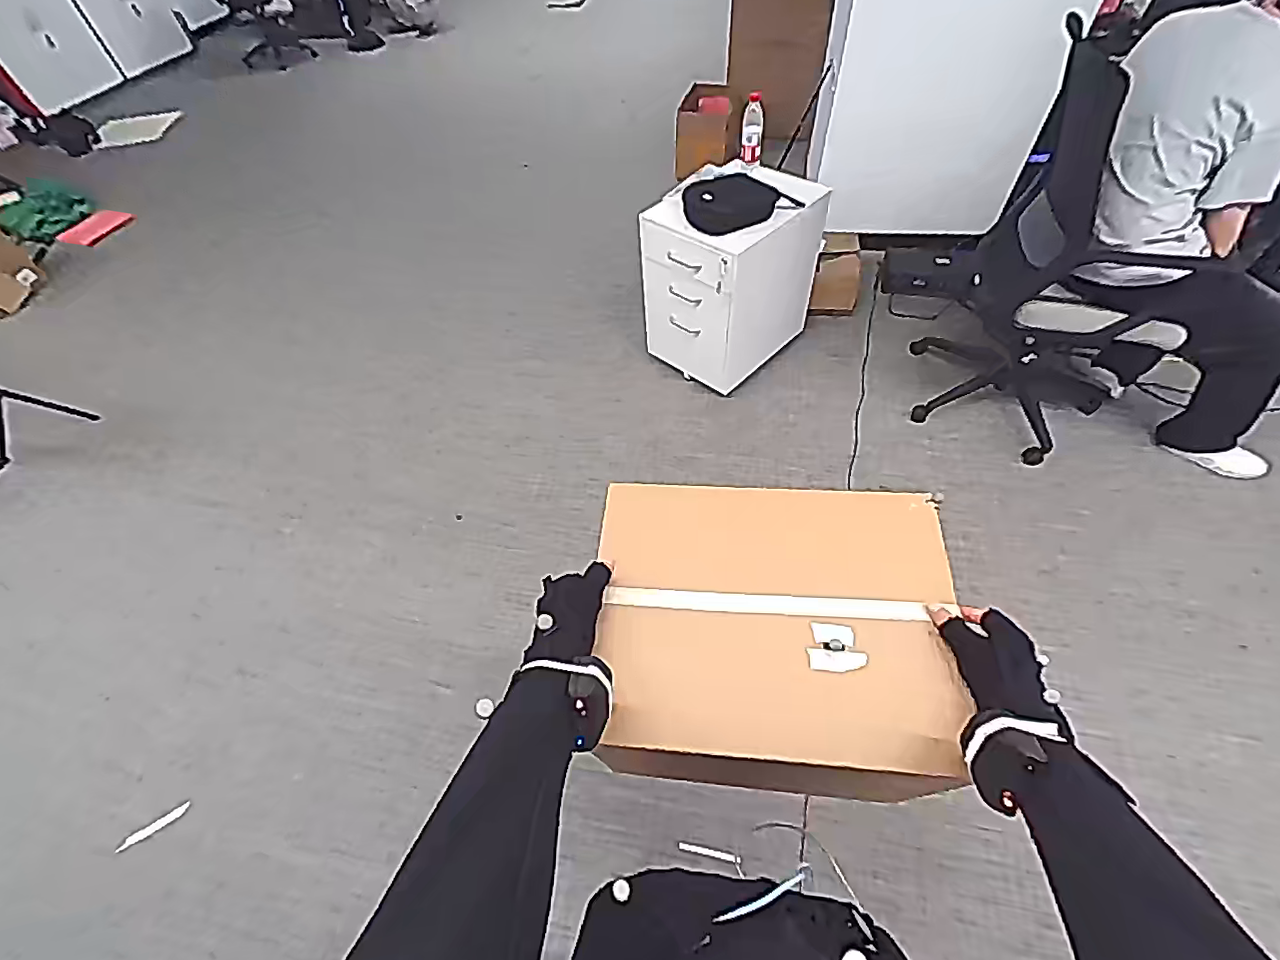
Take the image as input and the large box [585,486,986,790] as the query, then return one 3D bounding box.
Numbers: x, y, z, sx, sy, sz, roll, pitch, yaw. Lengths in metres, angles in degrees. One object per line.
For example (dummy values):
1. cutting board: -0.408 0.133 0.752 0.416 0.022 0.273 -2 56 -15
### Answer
1. large box: 0.162 0.223 0.744 0.408 0.320 0.320 2 58 8
